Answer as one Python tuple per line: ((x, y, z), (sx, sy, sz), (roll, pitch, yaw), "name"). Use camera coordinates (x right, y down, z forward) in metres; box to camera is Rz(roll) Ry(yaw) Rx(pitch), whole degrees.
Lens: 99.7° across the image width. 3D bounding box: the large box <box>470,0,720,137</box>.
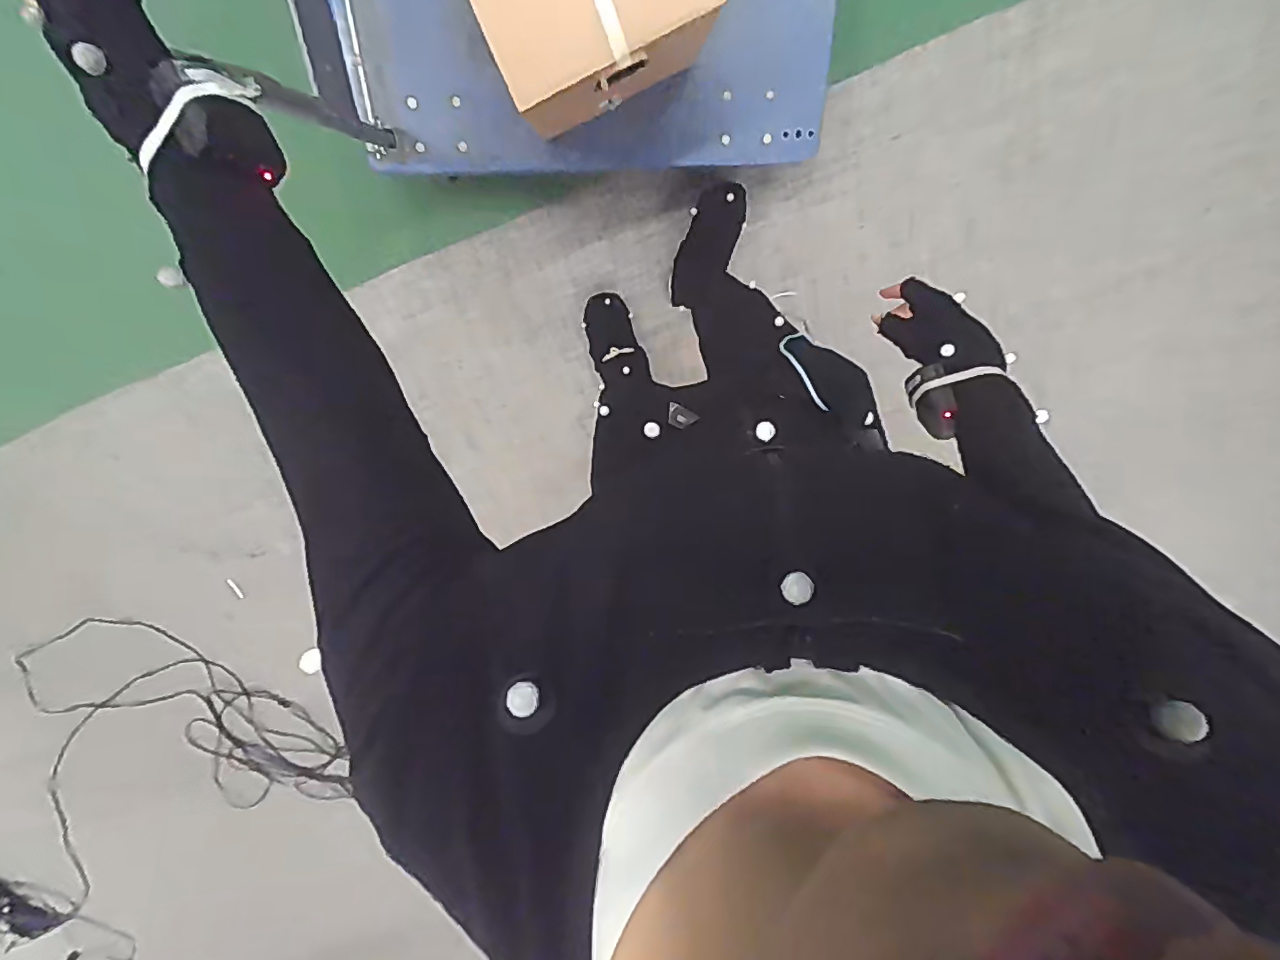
((-0.110, -0.803, 0.790), (0.320, 0.320, 0.408), (-23, 114, 8), "large box")
